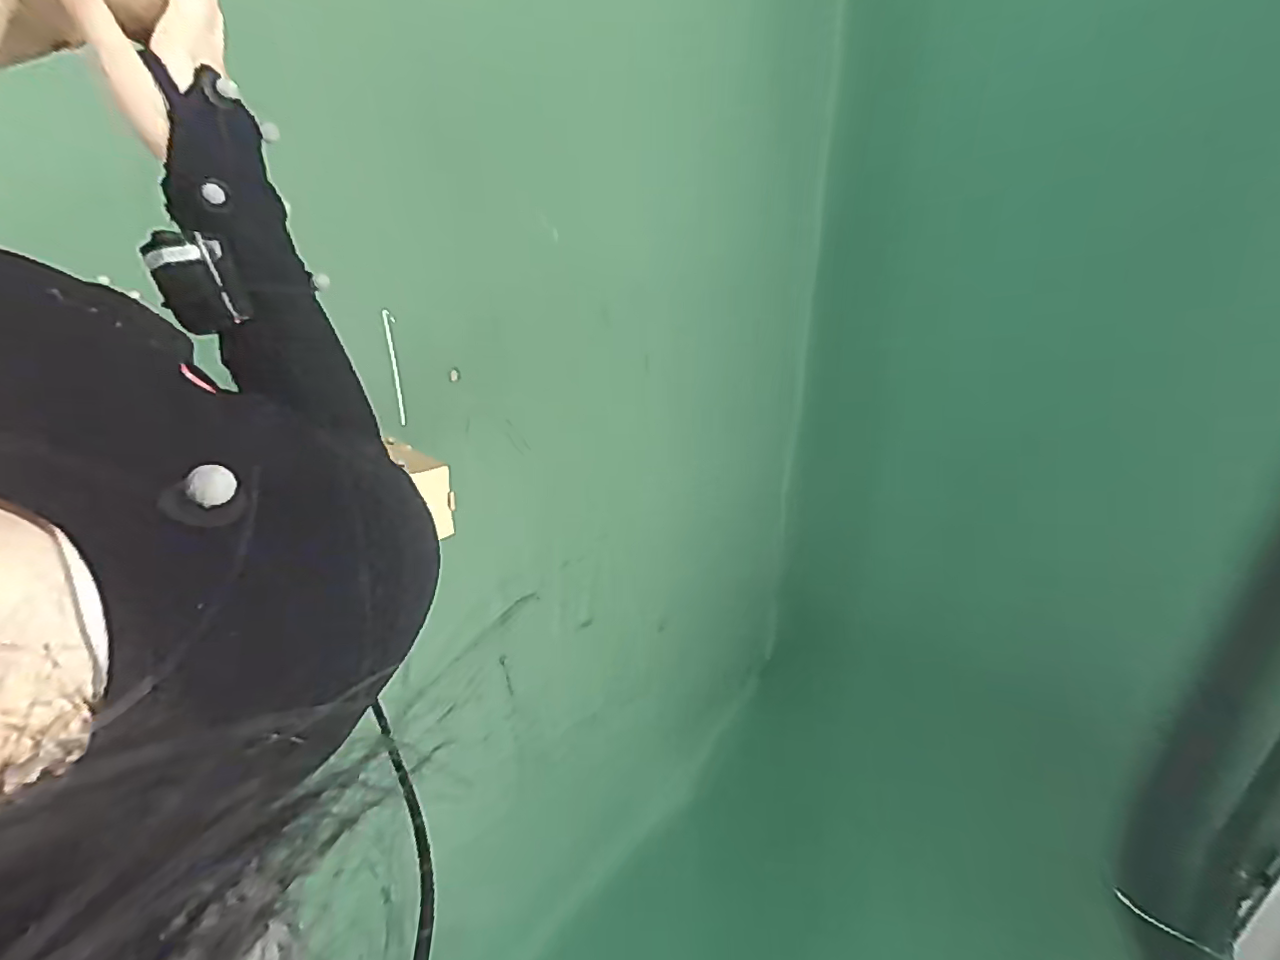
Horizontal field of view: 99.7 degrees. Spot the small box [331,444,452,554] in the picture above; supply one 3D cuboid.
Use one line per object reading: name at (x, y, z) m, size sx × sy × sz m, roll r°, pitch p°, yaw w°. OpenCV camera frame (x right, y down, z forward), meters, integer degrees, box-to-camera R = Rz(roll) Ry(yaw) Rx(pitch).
small box at (-0.530, 0.031, 1.161) m, size 0.179 × 0.176 × 0.168 m, roll -20°, pitch 122°, yaw -45°
